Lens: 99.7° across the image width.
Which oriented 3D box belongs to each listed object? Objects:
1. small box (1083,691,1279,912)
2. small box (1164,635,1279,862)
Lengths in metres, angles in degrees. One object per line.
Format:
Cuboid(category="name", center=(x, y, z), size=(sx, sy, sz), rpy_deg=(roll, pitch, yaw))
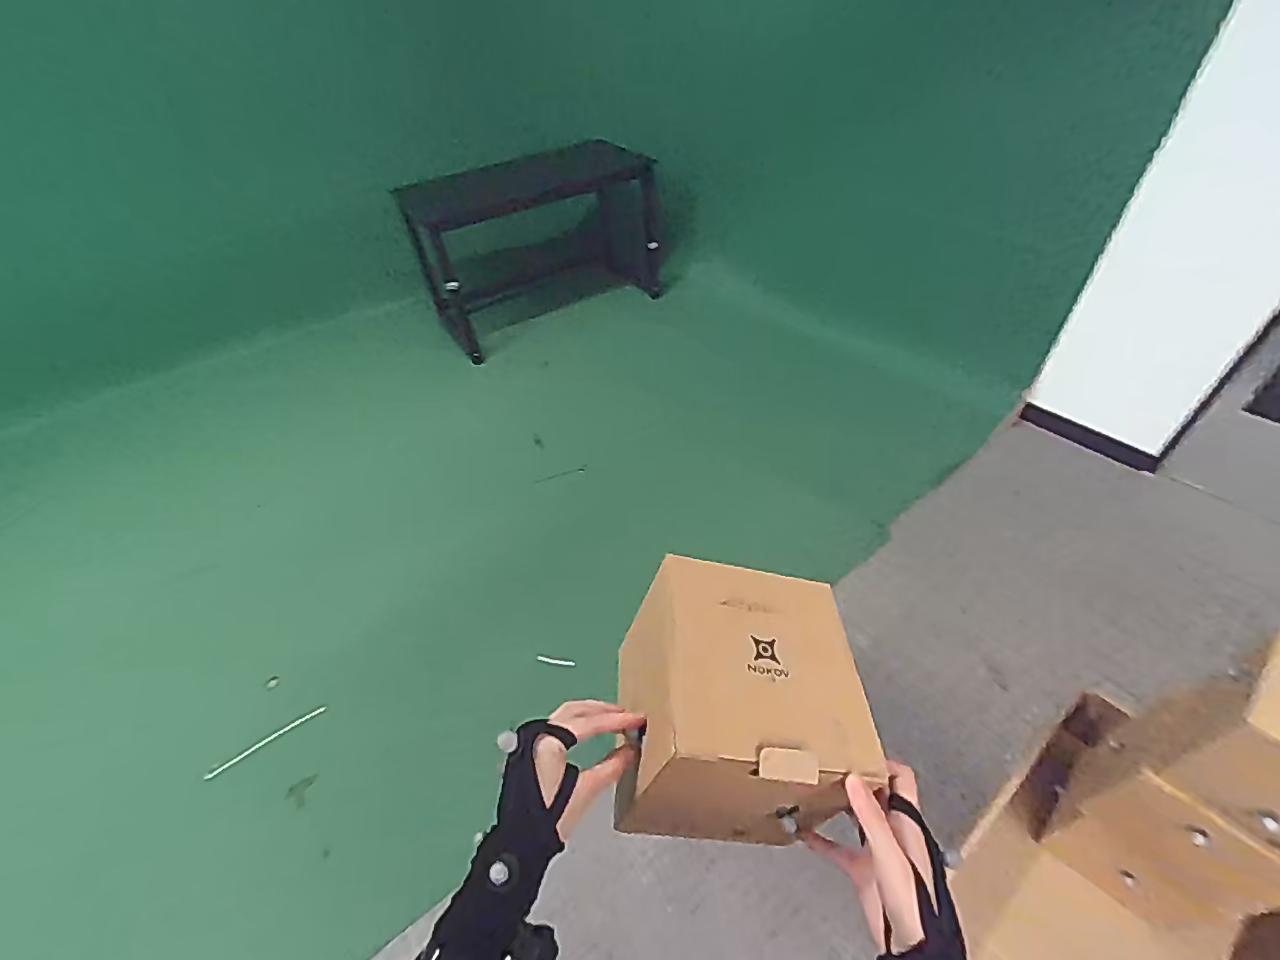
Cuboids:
Cuboid(category="small box", center=(0.751, 0.428, 0.718), size=(0.168, 0.176, 0.179), rpy_deg=(-35, 50, -26))
Cuboid(category="small box", center=(0.749, 0.308, 0.603), size=(0.179, 0.176, 0.168), rpy_deg=(-34, 49, -24))
